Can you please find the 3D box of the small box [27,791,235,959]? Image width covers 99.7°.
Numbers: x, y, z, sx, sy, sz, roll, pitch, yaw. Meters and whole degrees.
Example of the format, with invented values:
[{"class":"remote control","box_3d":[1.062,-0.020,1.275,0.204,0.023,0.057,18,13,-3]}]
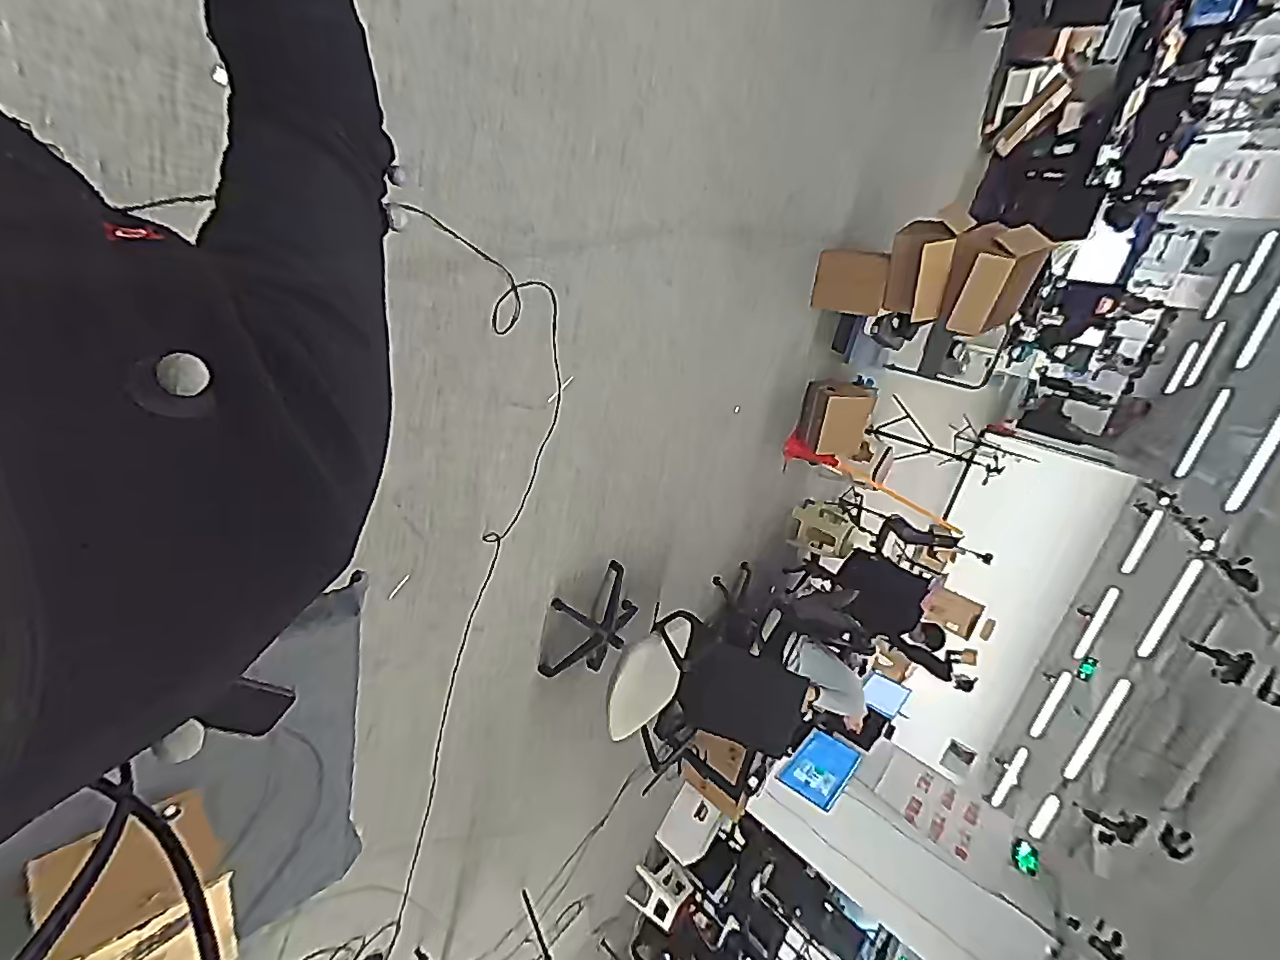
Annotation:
[{"class":"small box","box_3d":[-0.663,0.551,0.711,0.168,0.176,0.179,-14,124,-48]}]
